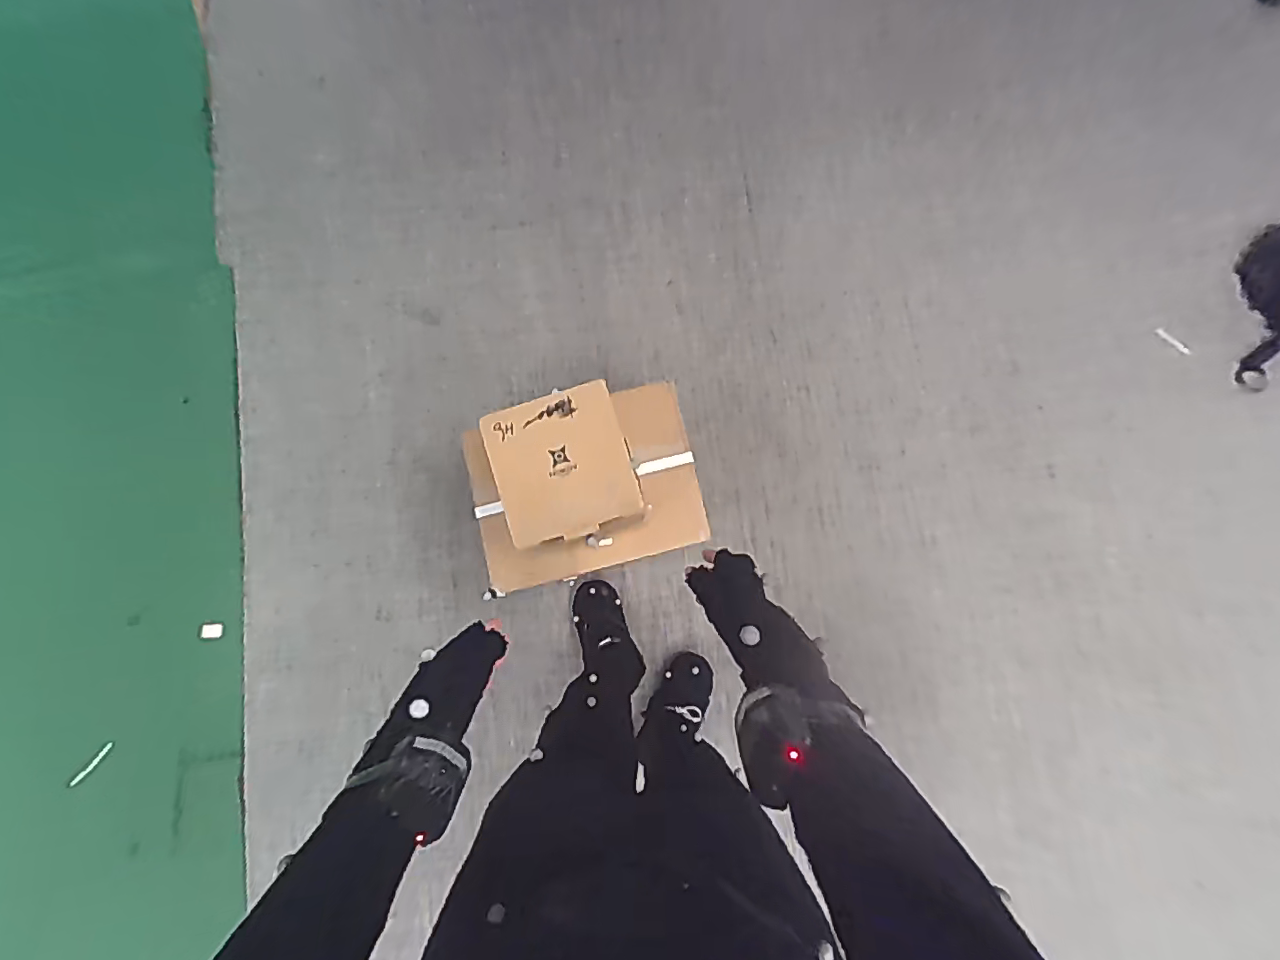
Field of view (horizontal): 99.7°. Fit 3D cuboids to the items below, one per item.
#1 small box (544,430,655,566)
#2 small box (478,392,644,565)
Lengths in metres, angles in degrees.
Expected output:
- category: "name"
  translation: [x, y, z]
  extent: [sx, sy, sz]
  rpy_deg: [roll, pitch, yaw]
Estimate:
- category: "small box"
  translation: [-0.086, 0.035, 0.892]
  extent: [0.179, 0.176, 0.168]
  rpy_deg: [-20, 81, -3]
- category: "small box"
  translation: [-0.095, 0.006, 0.731]
  extent: [0.168, 0.176, 0.179]
  rpy_deg: [-18, 82, -2]
